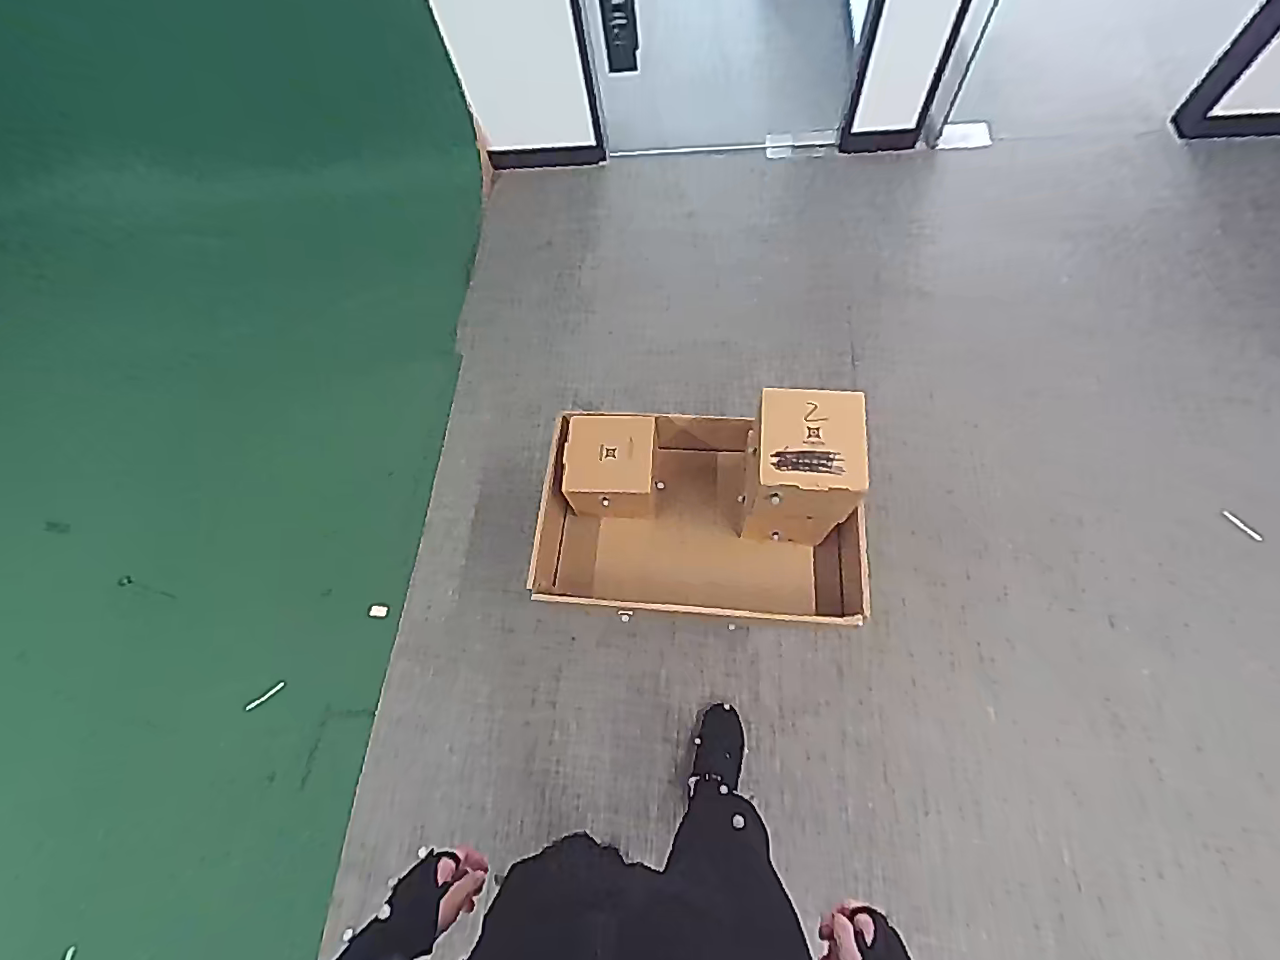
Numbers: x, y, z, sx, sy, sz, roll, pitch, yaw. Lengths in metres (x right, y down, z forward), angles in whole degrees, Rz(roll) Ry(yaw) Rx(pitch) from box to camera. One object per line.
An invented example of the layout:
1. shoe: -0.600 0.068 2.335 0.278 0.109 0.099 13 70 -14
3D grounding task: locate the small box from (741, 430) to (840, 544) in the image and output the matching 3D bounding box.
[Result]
1. small box: 0.295 0.018 1.084 0.168 0.176 0.179 4 69 7
